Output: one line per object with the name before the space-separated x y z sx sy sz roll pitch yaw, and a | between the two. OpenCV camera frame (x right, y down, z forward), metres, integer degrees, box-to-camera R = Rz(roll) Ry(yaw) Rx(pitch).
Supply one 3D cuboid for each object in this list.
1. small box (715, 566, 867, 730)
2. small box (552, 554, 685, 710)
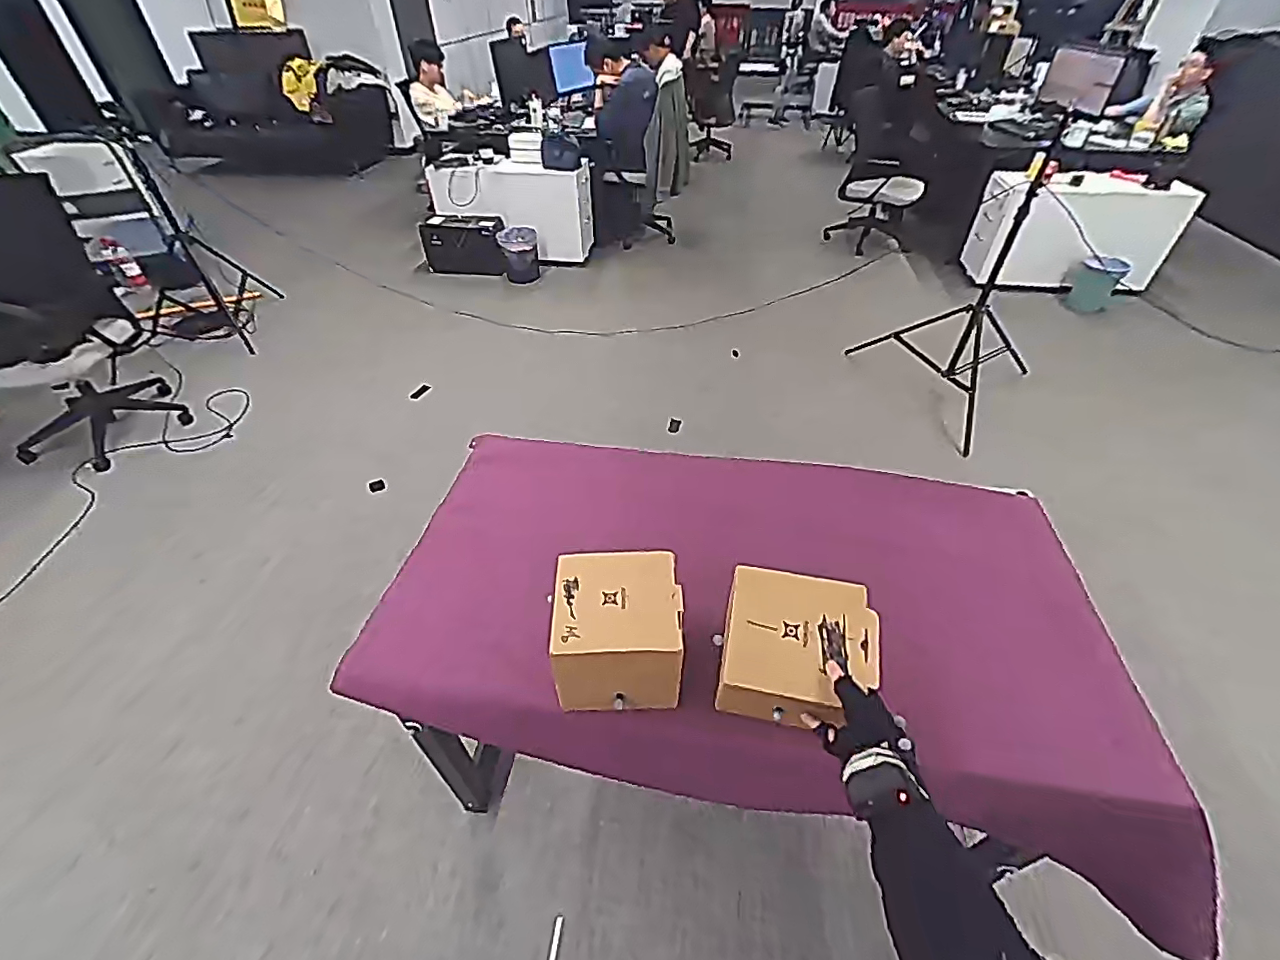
small box | 0.207 0.243 0.765 0.179 0.176 0.168 8 58 10
small box | -0.032 0.229 0.810 0.179 0.176 0.168 -1 42 -2
